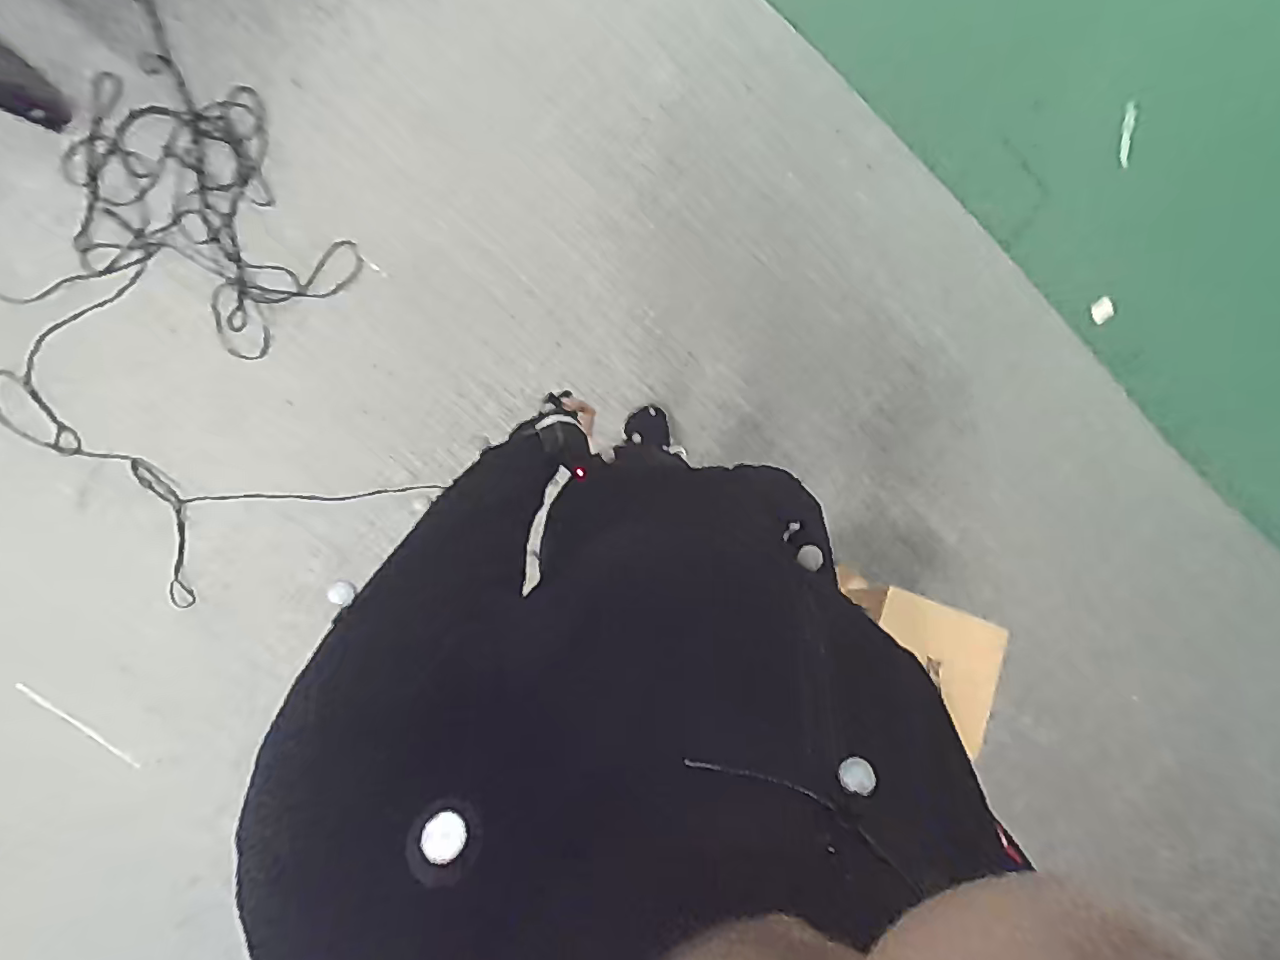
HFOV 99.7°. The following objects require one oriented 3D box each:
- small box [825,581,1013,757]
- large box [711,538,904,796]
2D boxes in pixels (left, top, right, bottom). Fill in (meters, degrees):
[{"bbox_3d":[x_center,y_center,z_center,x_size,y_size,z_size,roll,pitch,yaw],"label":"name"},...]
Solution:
[{"bbox_3d":[0.387,0.258,0.779,0.168,0.176,0.179,20,80,6],"label":"small box"},{"bbox_3d":[0.422,0.411,1.265,0.320,0.320,0.408,41,100,-5],"label":"large box"}]
